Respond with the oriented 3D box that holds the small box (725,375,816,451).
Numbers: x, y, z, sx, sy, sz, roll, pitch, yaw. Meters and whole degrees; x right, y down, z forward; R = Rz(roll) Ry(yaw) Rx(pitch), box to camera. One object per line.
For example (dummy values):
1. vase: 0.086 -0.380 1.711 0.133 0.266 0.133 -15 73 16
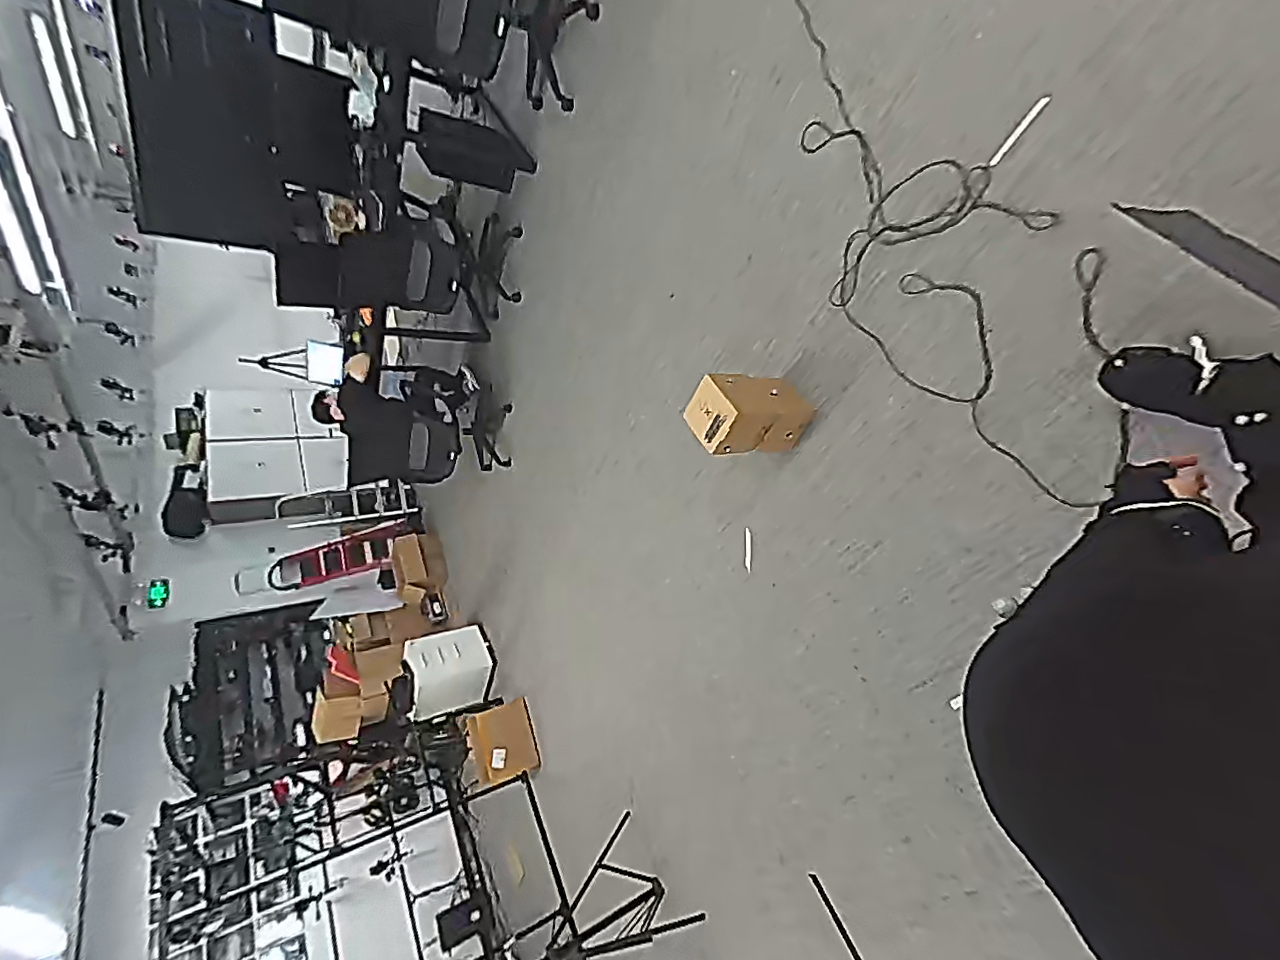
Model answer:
1. small box: 0.405 -0.207 1.682 0.179 0.176 0.168 55 136 34
